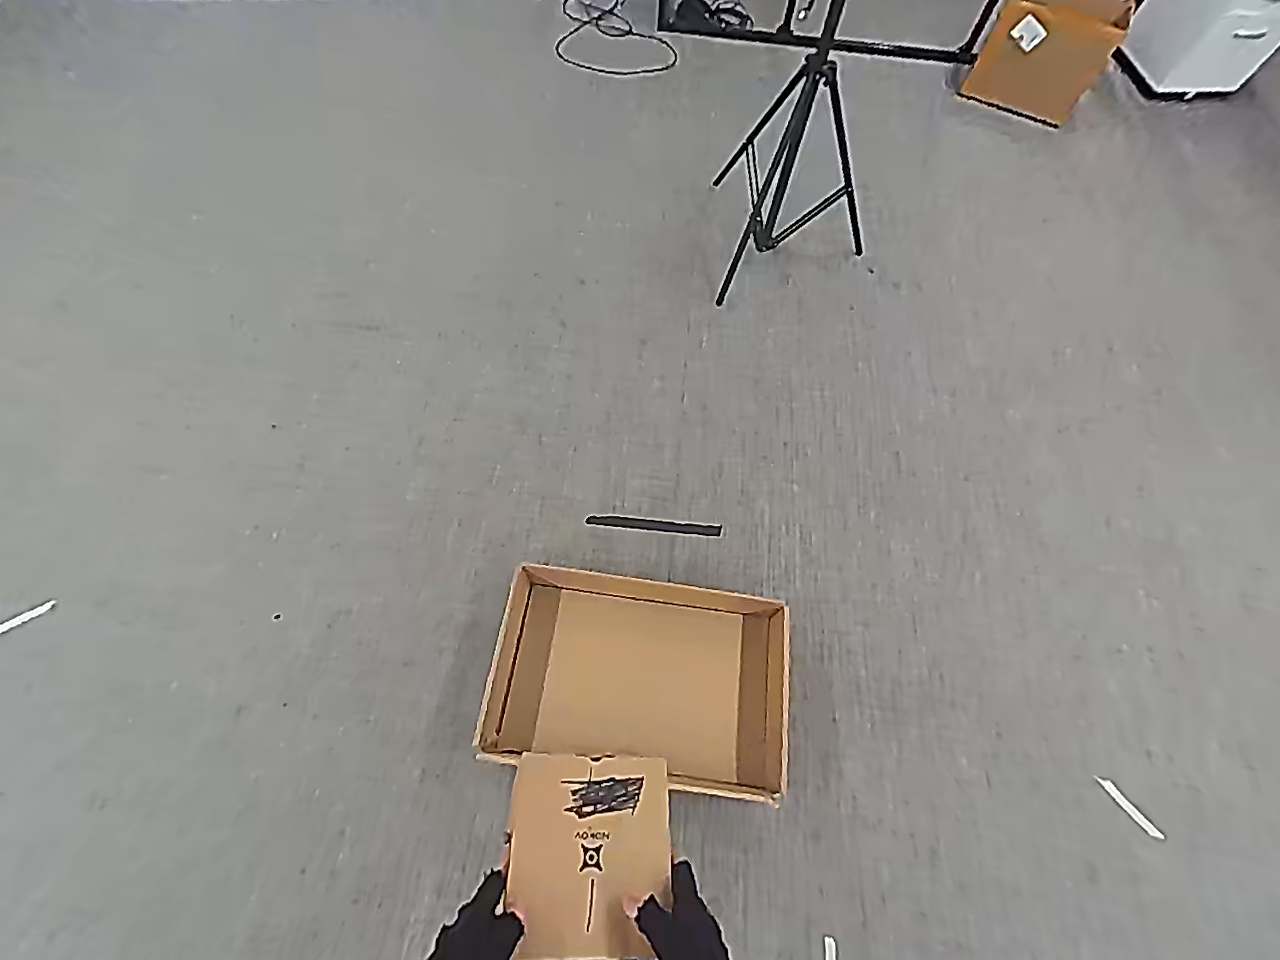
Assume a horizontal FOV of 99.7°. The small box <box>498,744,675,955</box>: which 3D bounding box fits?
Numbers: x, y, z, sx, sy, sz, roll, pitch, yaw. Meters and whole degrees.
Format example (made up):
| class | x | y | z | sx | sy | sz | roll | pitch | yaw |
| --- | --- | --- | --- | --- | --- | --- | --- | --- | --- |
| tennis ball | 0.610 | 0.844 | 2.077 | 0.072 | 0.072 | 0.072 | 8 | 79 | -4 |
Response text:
| class | x | y | z | sx | sy | sz | roll | pitch | yaw |
| --- | --- | --- | --- | --- | --- | --- | --- | --- | --- |
| small box | -0.065 | 0.420 | 0.612 | 0.168 | 0.176 | 0.179 | 7 | 49 | -10 |
